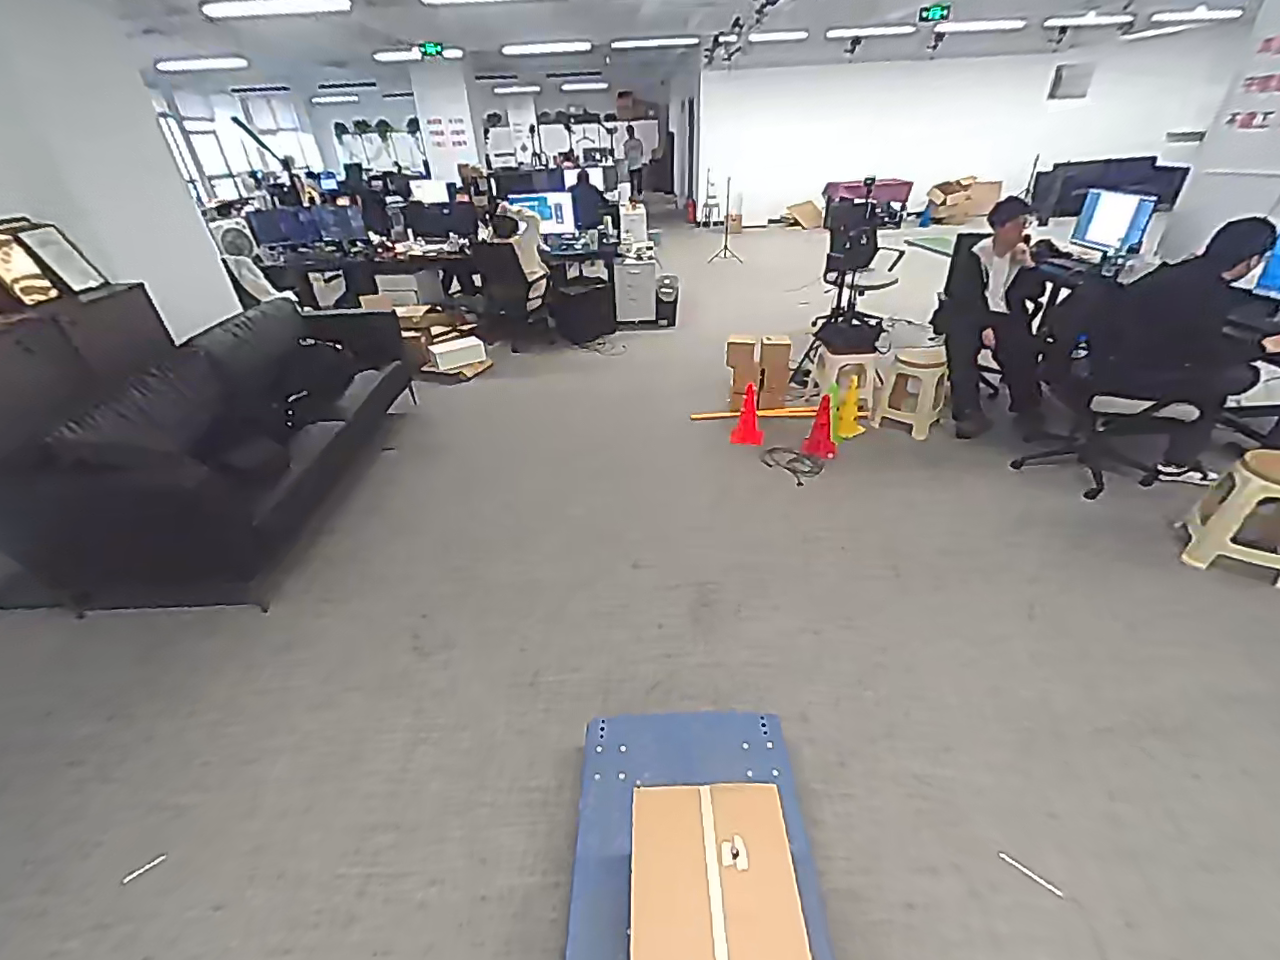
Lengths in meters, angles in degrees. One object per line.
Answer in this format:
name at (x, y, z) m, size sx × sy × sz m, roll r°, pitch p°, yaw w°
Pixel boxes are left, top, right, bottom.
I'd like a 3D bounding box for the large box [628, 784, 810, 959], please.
large box at (0.142, 0.901, 1.085) m, size 0.320 × 0.320 × 0.408 m, roll -2°, pitch 32°, yaw 1°
